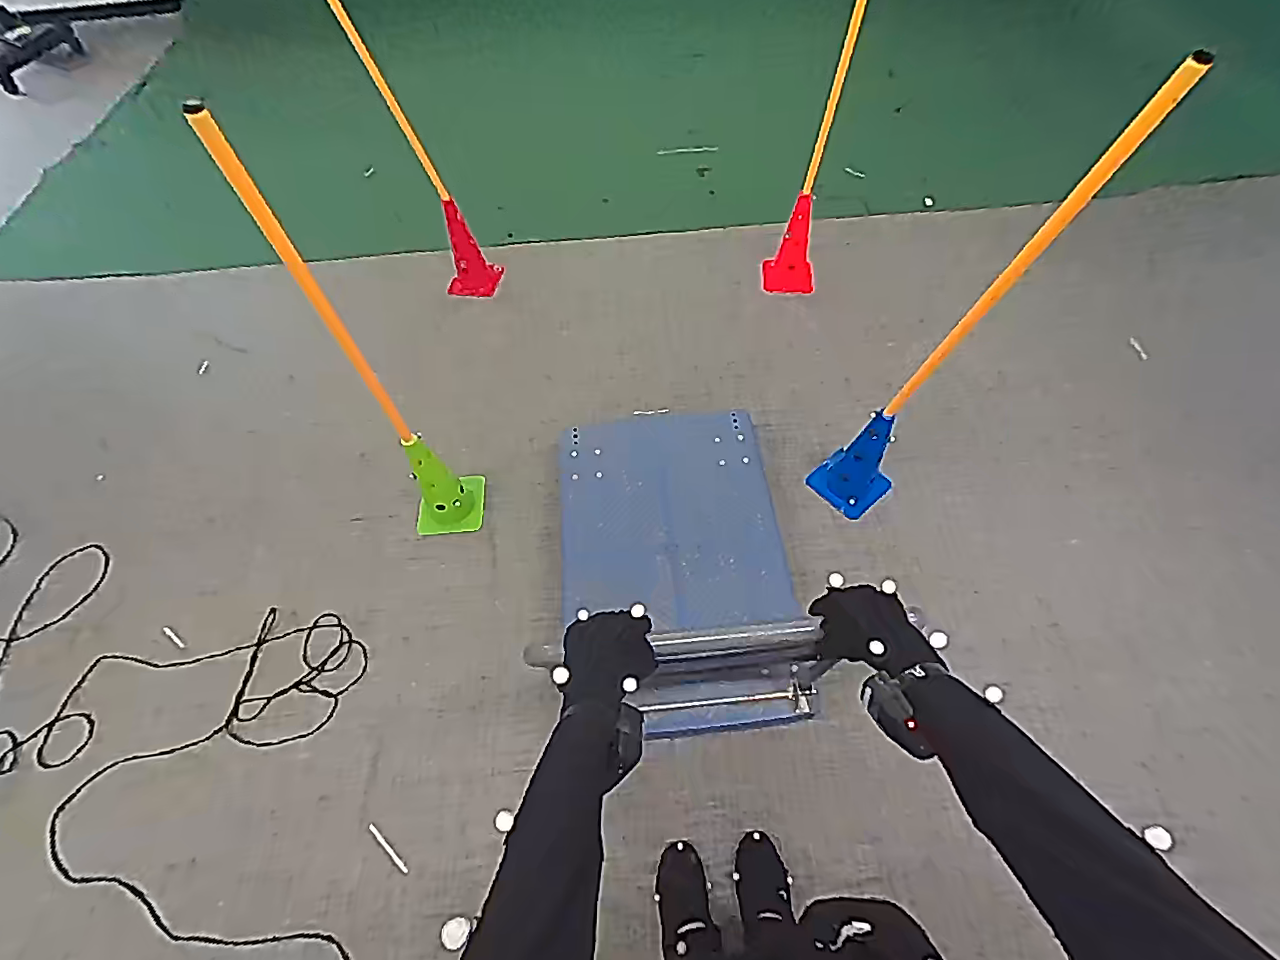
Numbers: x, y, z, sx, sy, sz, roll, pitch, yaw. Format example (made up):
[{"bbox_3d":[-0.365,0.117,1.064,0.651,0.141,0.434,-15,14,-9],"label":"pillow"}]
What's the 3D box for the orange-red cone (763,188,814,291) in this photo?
[{"bbox_3d":[0.591,-0.924,2.046,0.198,0.360,0.199,5,60,7],"label":"orange-red cone"}]
